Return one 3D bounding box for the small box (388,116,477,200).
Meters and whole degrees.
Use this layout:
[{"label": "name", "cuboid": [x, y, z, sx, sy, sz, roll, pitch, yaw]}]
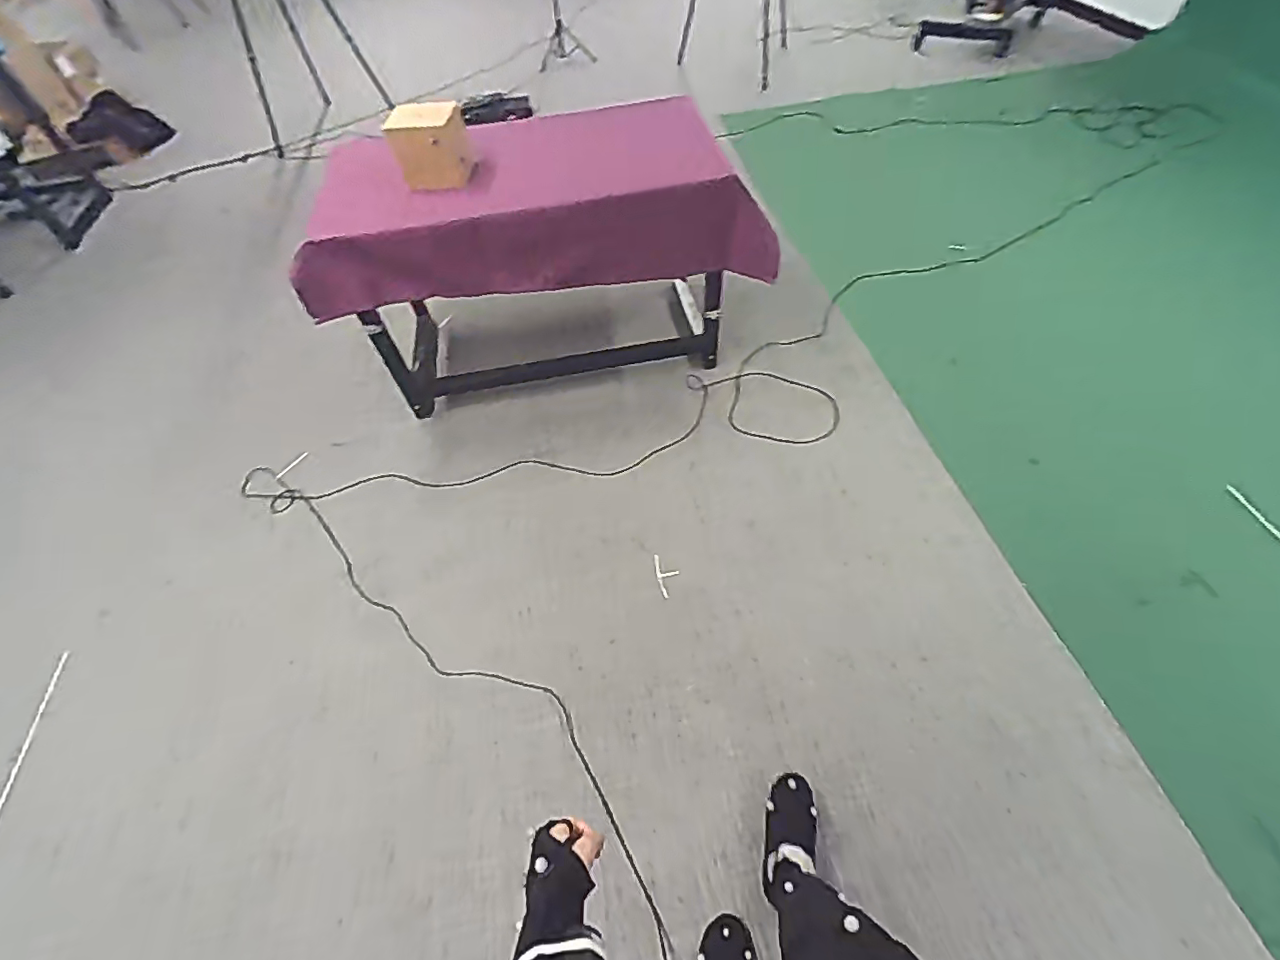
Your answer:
[{"label": "small box", "cuboid": [-0.607, -0.950, 1.602, 0.179, 0.176, 0.168, -1, 53, 3]}]
